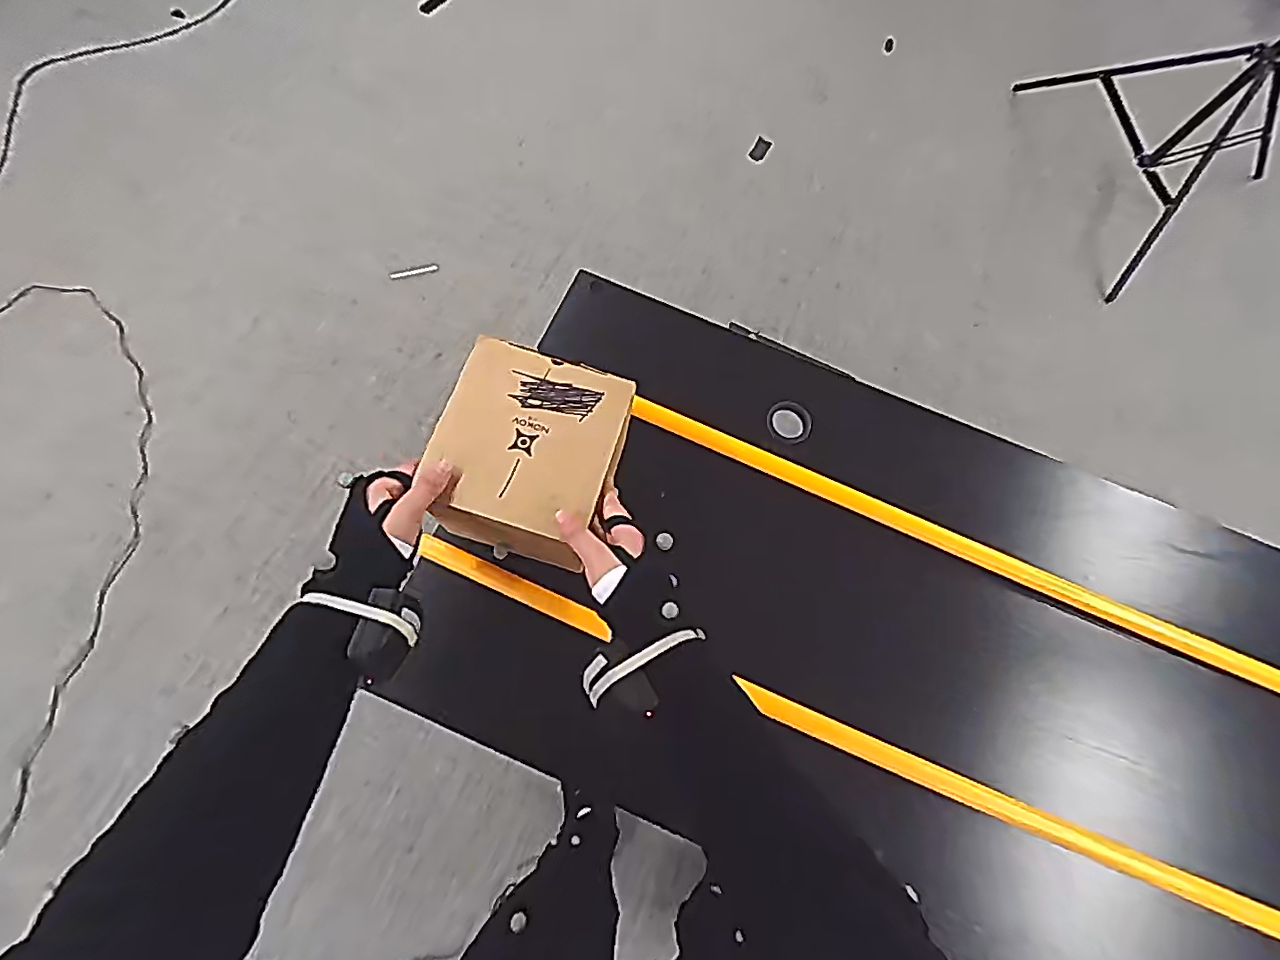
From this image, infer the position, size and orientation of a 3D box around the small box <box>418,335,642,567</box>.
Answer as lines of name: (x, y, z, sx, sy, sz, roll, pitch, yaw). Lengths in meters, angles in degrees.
small box: (-0.108, -0.019, 0.586, 0.168, 0.176, 0.179, 18, 72, -1)
